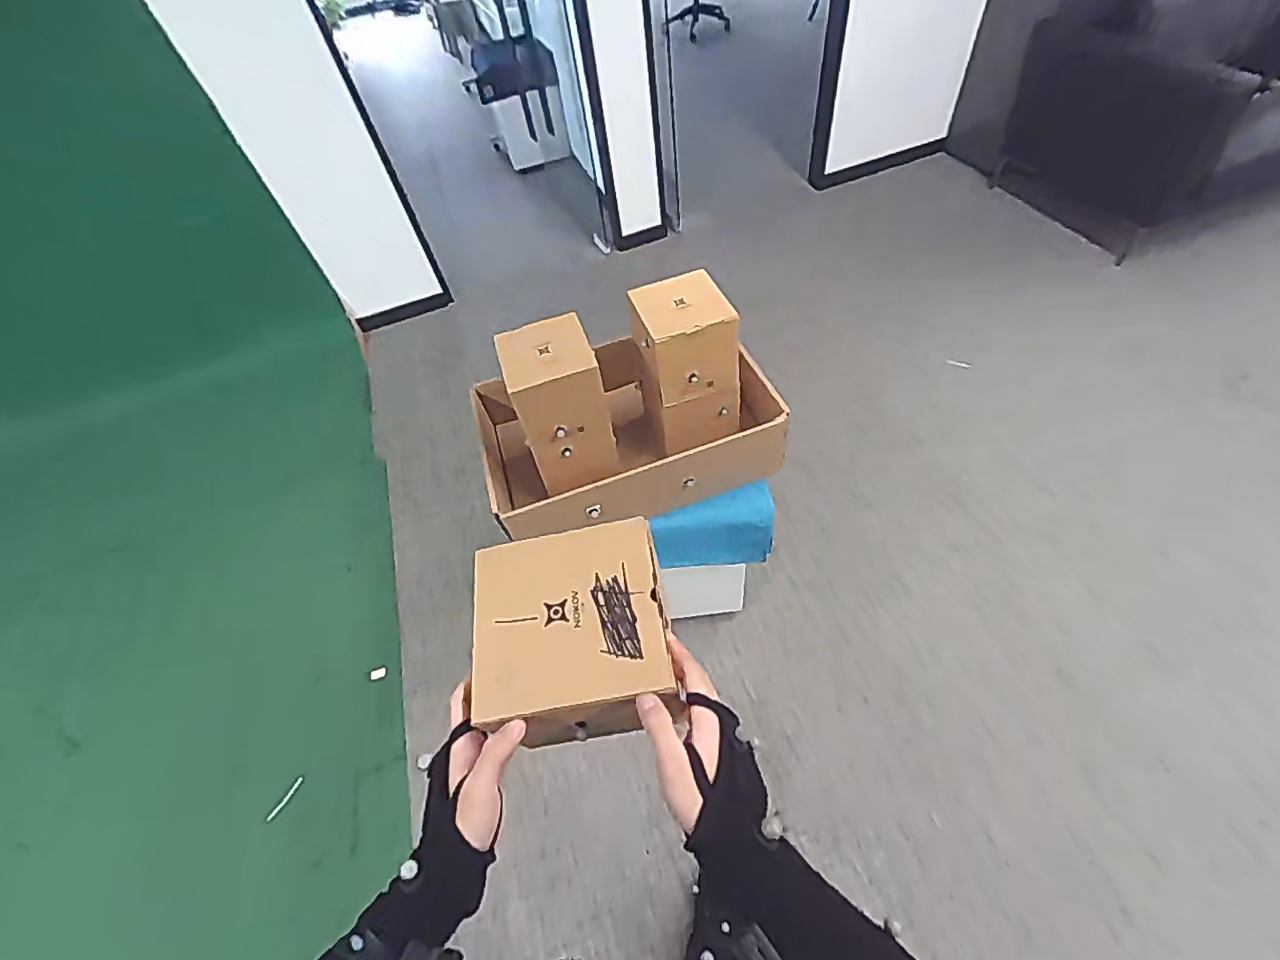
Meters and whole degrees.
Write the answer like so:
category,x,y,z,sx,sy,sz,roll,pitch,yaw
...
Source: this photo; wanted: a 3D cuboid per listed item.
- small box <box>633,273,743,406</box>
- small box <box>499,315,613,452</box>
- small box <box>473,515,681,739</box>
category,x,y,z,sx,sy,sz,roll,pitch,yaw
small box,0.093,-0.278,1.080,0.168,0.176,0.179,-18,52,-5
small box,-0.161,-0.184,1.049,0.168,0.176,0.179,-18,52,-5
small box,-0.055,0.158,0.560,0.179,0.176,0.168,-11,56,2
